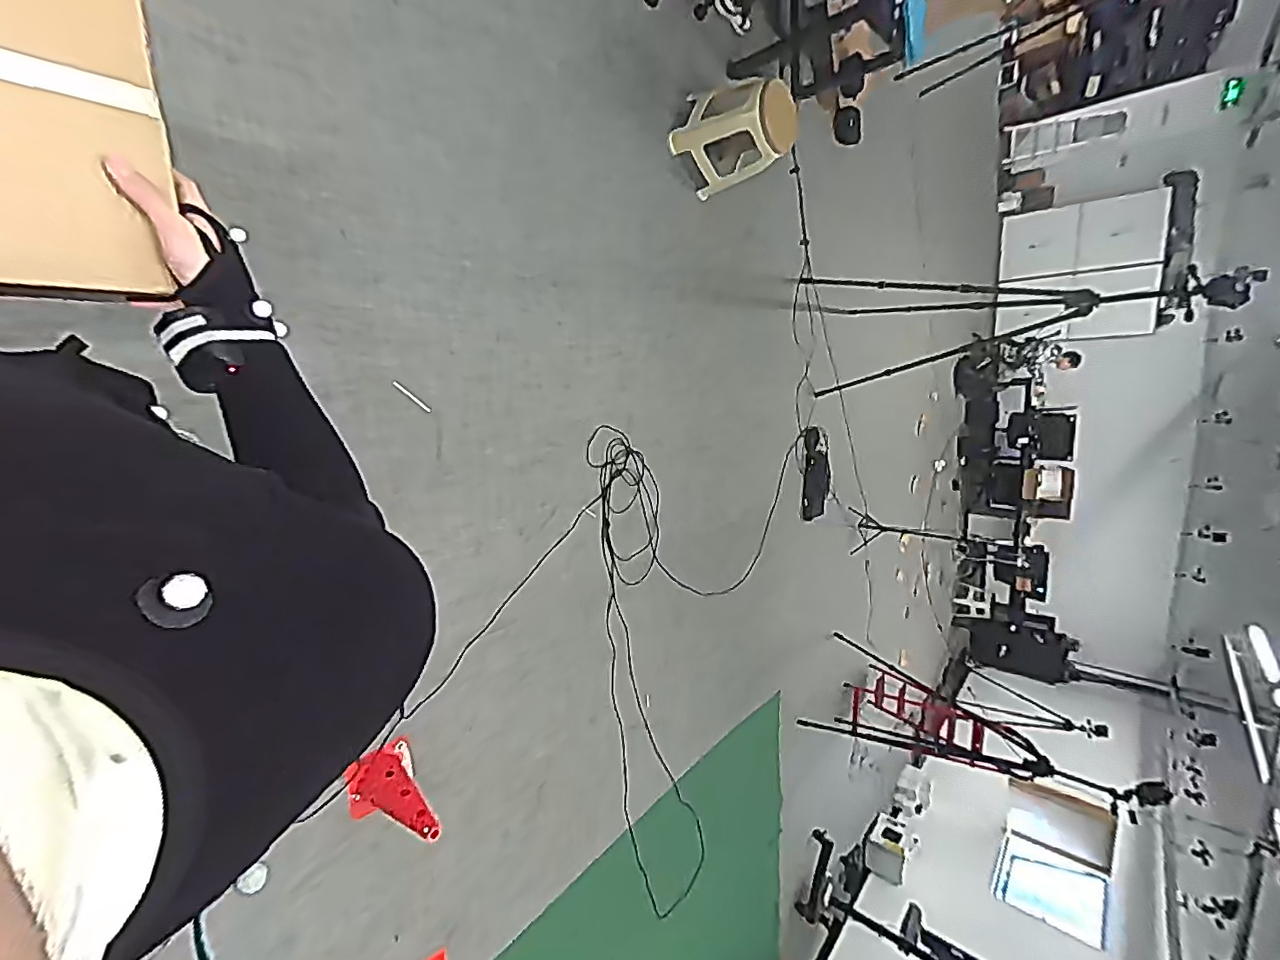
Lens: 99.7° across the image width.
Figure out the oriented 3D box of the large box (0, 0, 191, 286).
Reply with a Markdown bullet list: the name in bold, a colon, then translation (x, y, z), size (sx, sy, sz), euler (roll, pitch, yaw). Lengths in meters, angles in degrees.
- **large box**: translation (-0.669, -0.330, 0.424), size (0.408, 0.320, 0.320), euler (-16, 114, -48)
